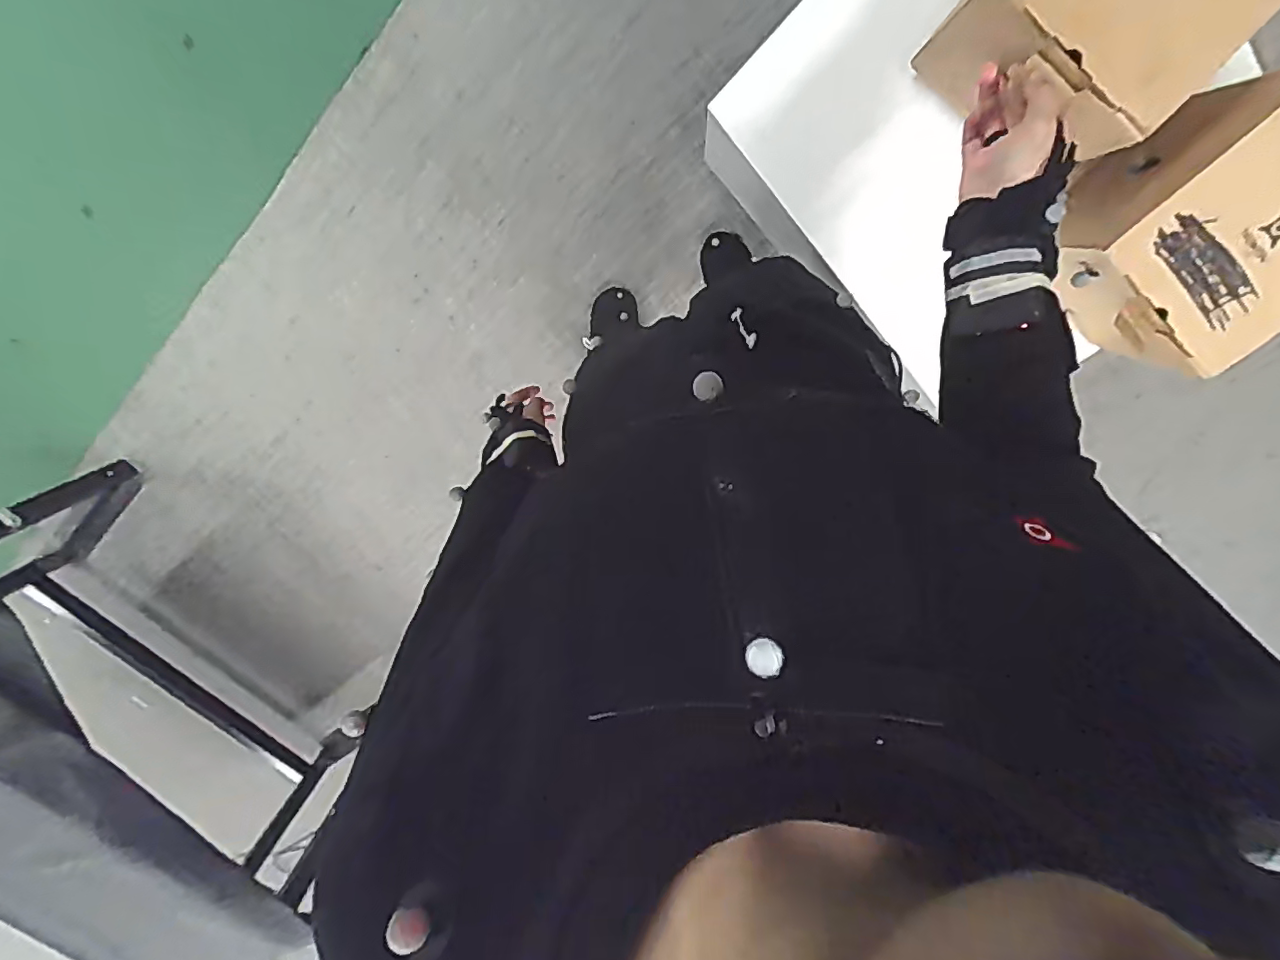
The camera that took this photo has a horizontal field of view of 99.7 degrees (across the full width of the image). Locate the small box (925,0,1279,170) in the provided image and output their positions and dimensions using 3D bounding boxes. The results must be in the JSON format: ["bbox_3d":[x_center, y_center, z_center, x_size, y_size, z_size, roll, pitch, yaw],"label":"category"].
[{"bbox_3d":[0.364,-0.386,0.433,0.168,0.176,0.179,37,109,-9],"label":"small box"}]
